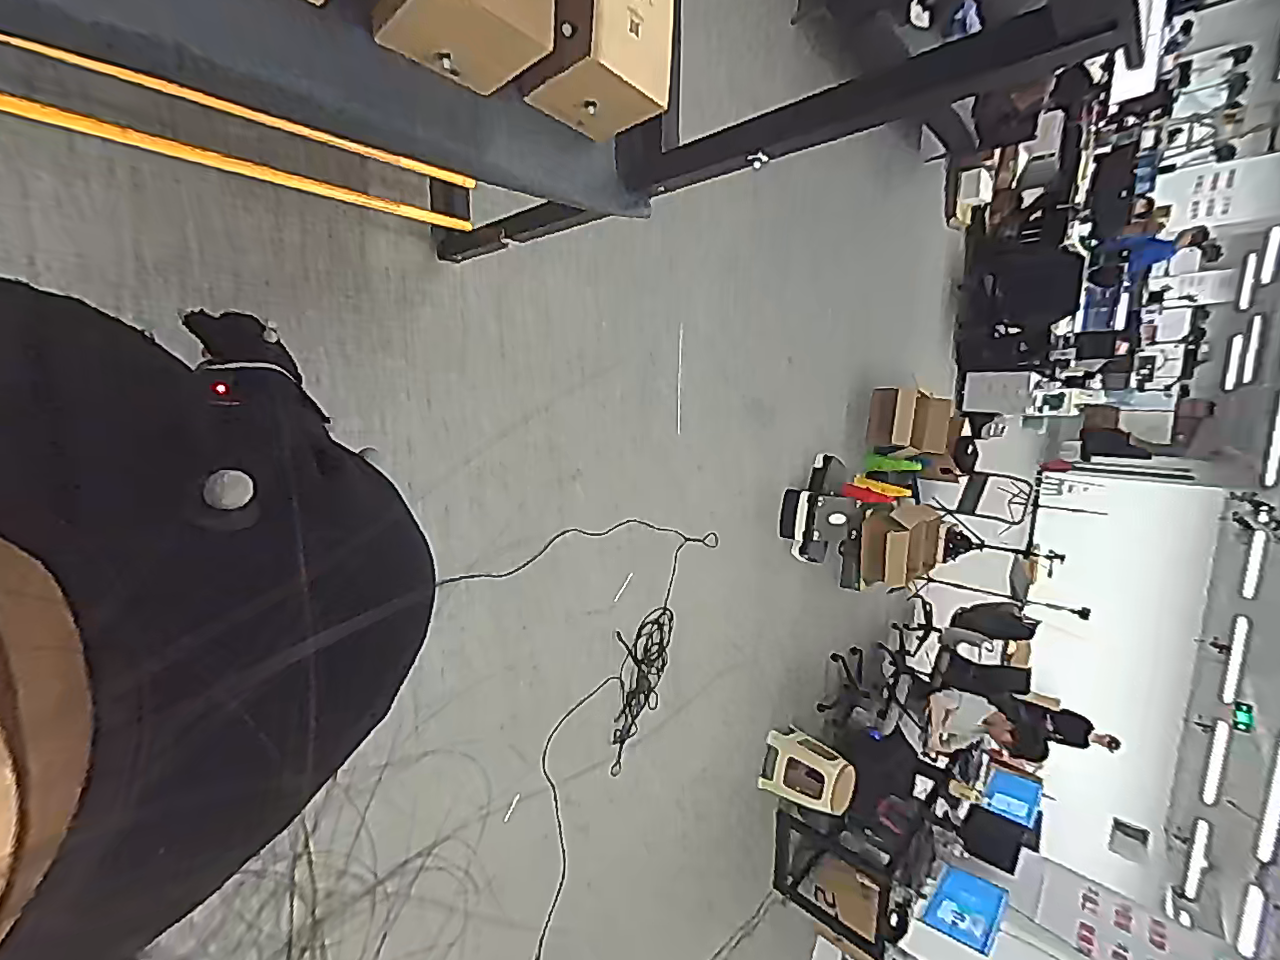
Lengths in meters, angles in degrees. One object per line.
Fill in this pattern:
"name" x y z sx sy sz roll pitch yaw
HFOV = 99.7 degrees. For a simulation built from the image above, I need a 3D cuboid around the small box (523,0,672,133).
"small box" -0.070 -0.687 0.850 0.168 0.176 0.179 -3 99 -47
